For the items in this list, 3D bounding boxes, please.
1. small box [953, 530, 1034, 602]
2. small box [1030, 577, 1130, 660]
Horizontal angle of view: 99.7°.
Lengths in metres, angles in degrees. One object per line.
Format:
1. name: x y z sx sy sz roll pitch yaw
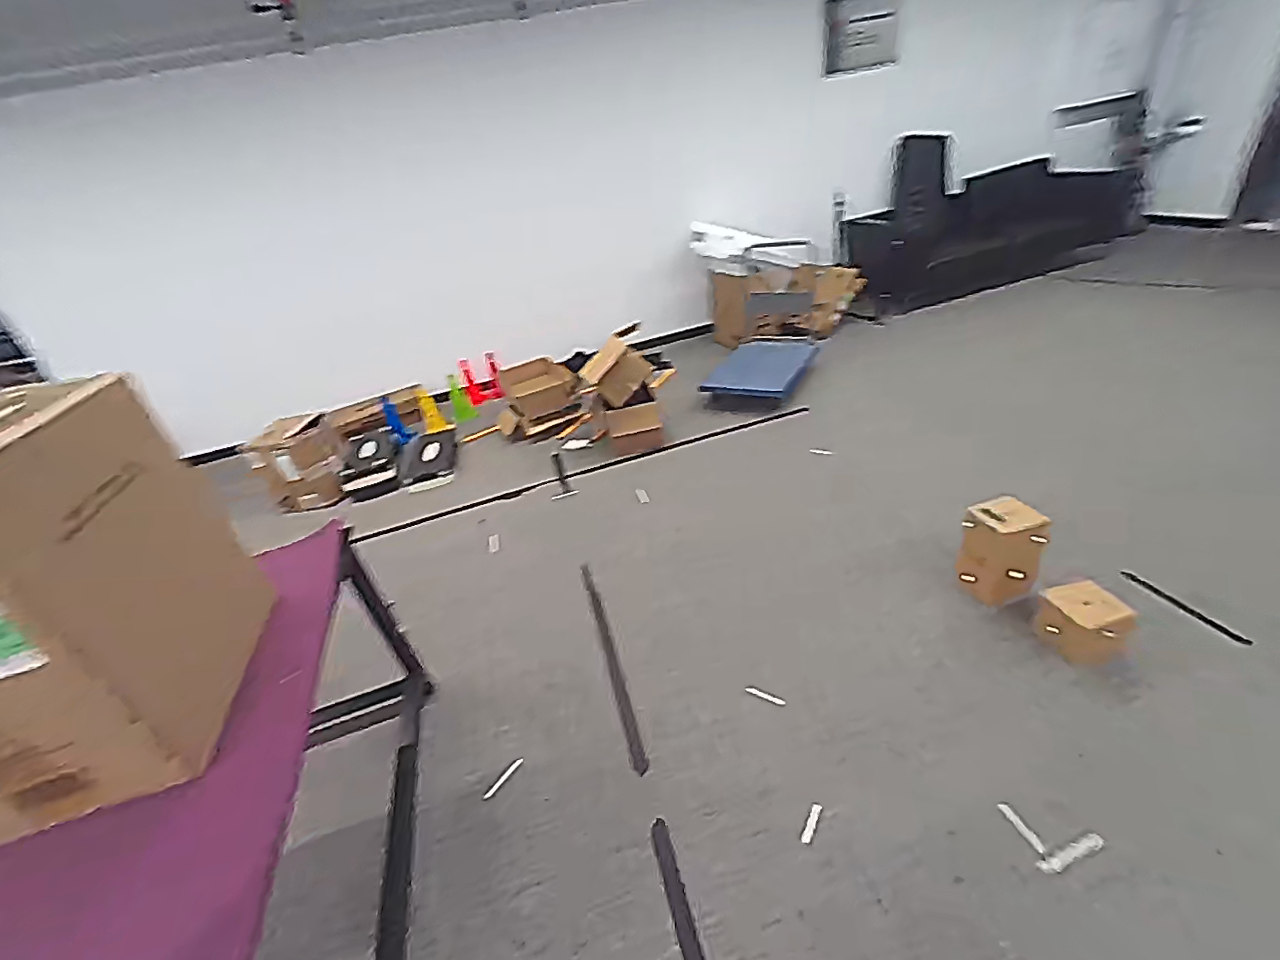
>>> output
1. small box: 1.267 0.312 1.953 0.179 0.176 0.168 -16 31 -6
2. small box: 1.372 0.439 1.702 0.179 0.176 0.168 -15 32 -6
